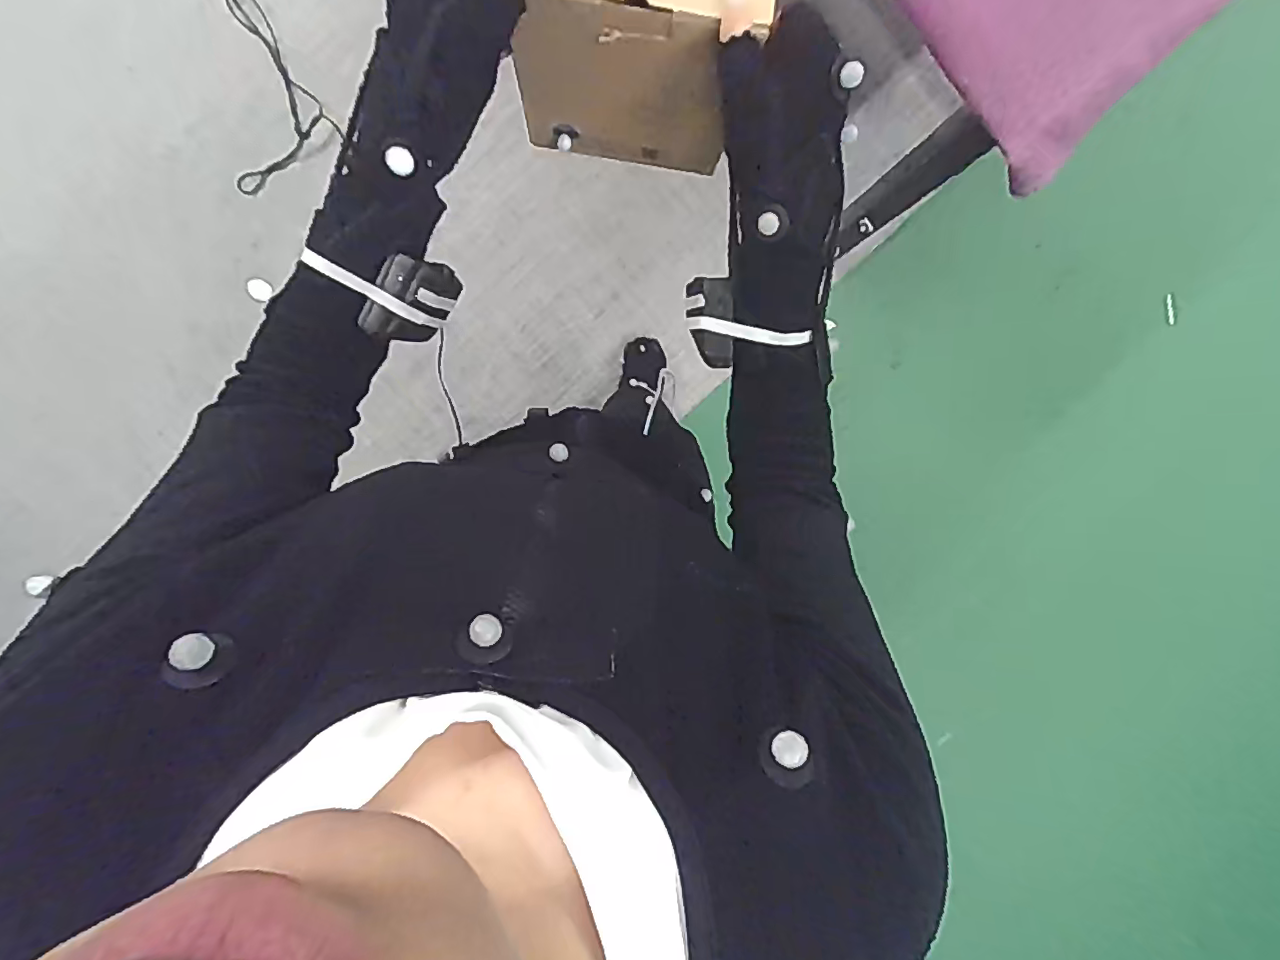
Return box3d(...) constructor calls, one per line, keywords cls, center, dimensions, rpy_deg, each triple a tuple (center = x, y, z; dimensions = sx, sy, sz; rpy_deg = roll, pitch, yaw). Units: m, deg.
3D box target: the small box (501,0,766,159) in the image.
box3d(cls="small box", center=(0.001, -0.375, 0.400), dimensions=(0.168, 0.176, 0.179), rpy_deg=(6, 91, -4))
